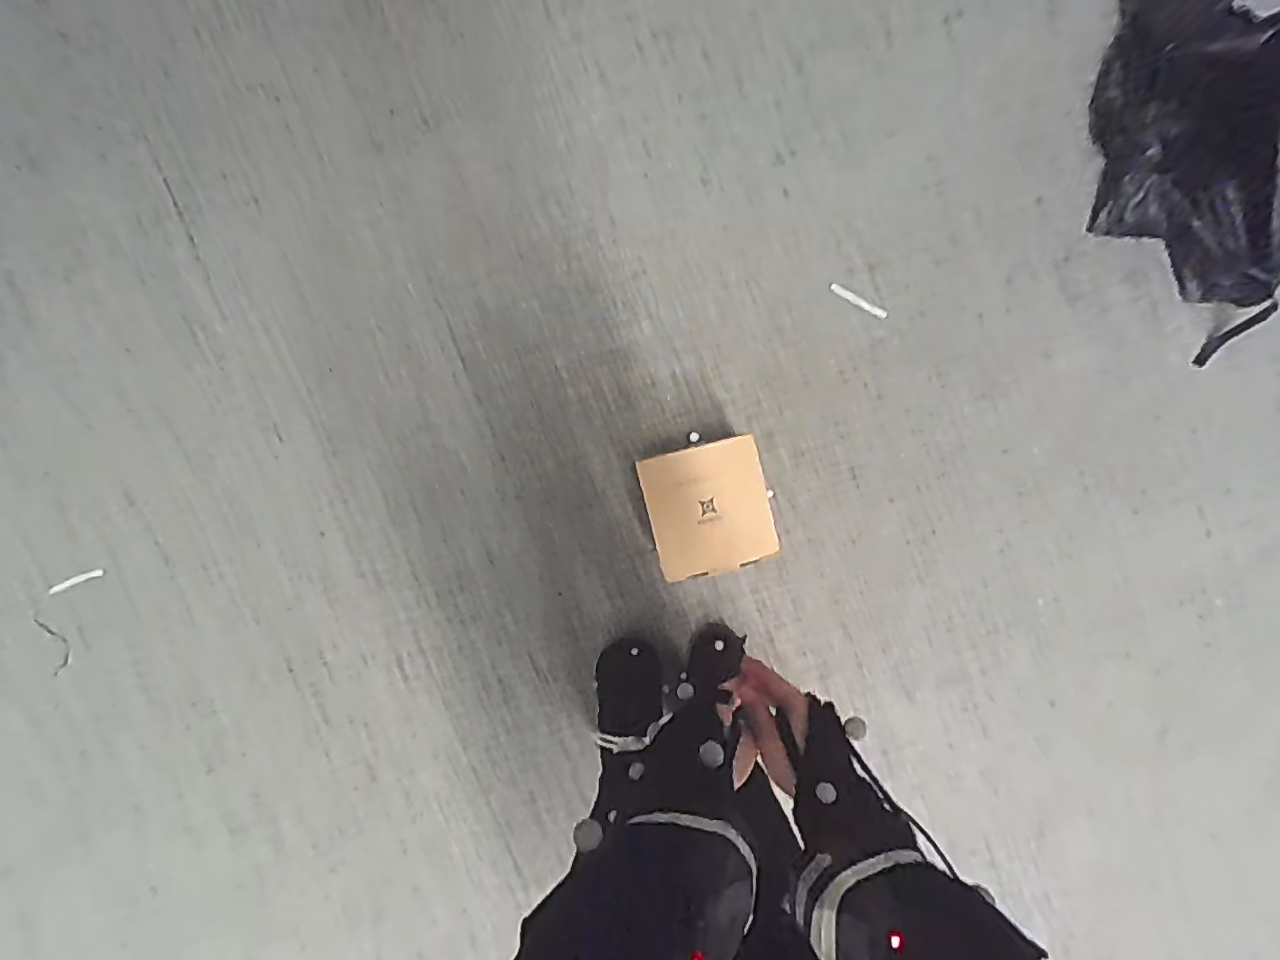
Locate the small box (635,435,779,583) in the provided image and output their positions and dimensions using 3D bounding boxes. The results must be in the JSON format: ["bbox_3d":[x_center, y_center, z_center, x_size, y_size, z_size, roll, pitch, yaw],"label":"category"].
[{"bbox_3d":[0.095,0.034,0.812,0.168,0.176,0.179,-15,93,2],"label":"small box"}]
